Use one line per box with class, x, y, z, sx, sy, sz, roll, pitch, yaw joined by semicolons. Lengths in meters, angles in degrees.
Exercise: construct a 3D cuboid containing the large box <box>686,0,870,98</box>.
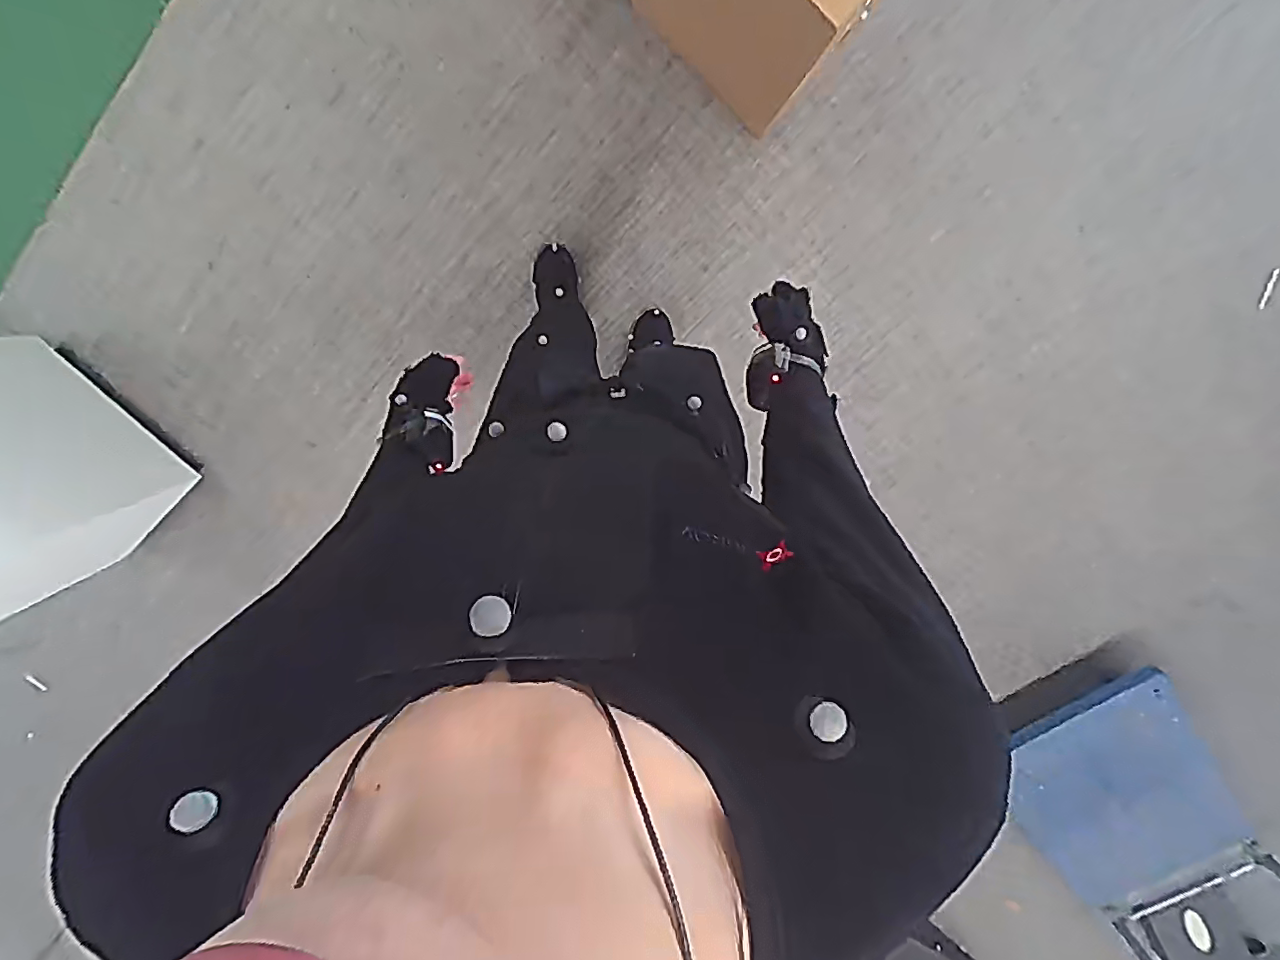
large box;0.203;-0.861;0.762;0.408;0.320;0.320;39;106;-10
